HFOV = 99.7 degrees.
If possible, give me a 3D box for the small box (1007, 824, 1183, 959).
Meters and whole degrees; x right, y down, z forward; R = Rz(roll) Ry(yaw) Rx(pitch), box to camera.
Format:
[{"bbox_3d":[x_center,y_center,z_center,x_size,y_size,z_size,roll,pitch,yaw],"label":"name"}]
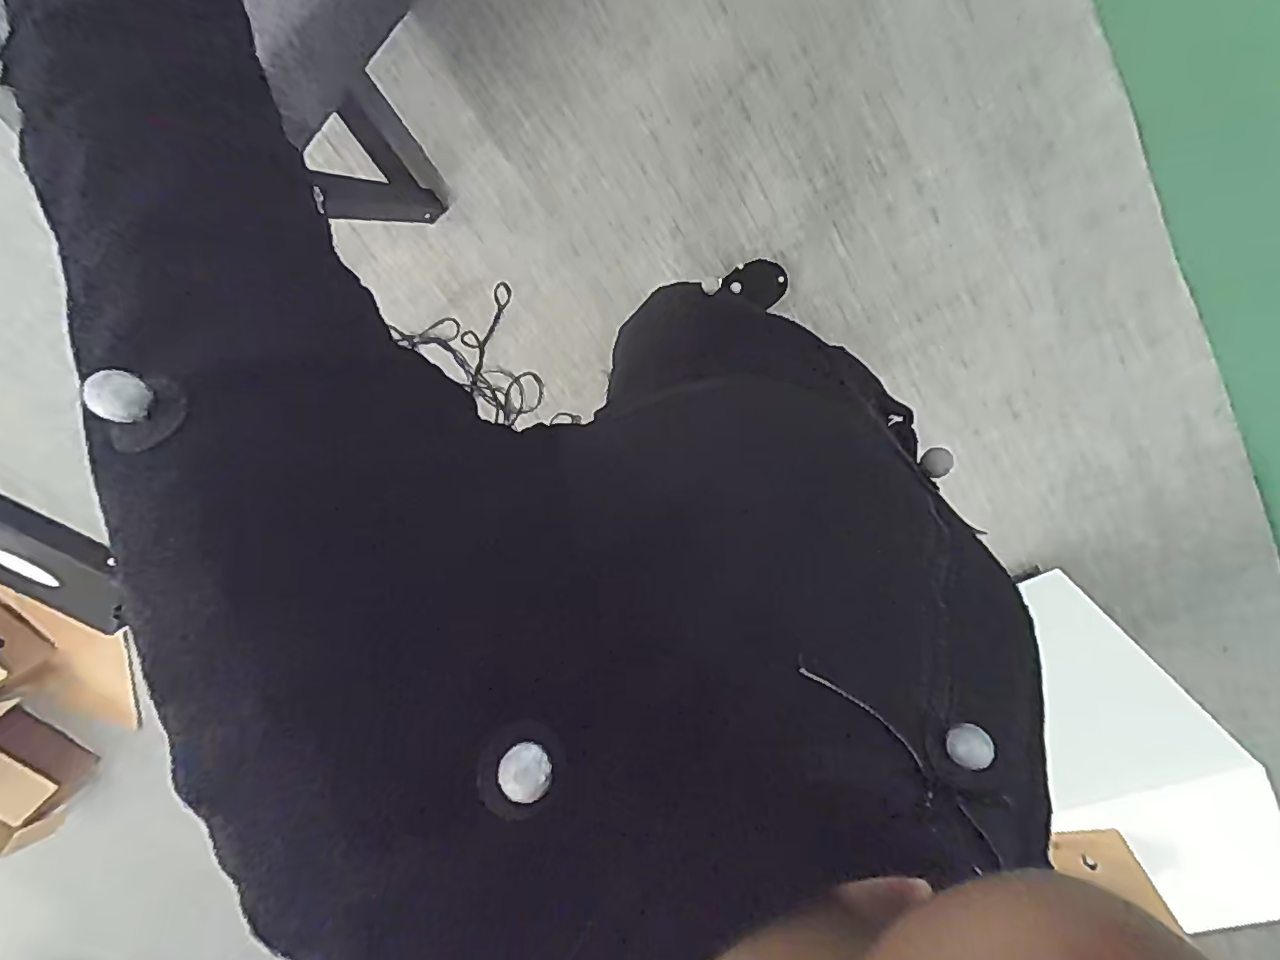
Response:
[{"bbox_3d":[0.744,0.713,0.905,0.168,0.176,0.179,-13,112,14],"label":"small box"}]
